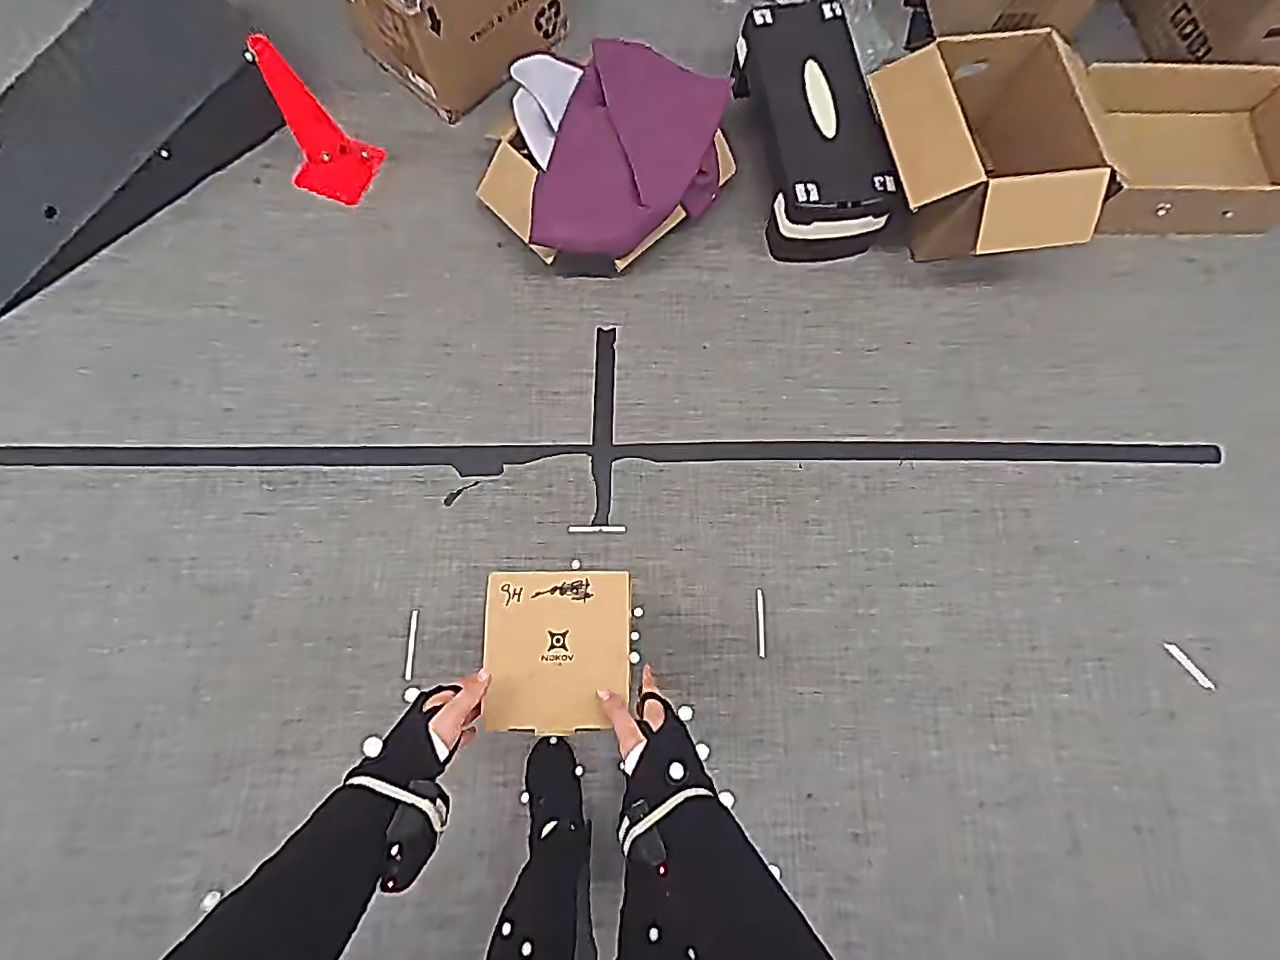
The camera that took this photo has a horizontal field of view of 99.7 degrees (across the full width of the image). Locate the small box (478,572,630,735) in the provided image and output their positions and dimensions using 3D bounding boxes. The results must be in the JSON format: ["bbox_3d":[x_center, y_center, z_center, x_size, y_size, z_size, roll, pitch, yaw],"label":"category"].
[{"bbox_3d":[-0.096,0.209,0.683,0.168,0.176,0.179,0,77,-1],"label":"small box"}]
